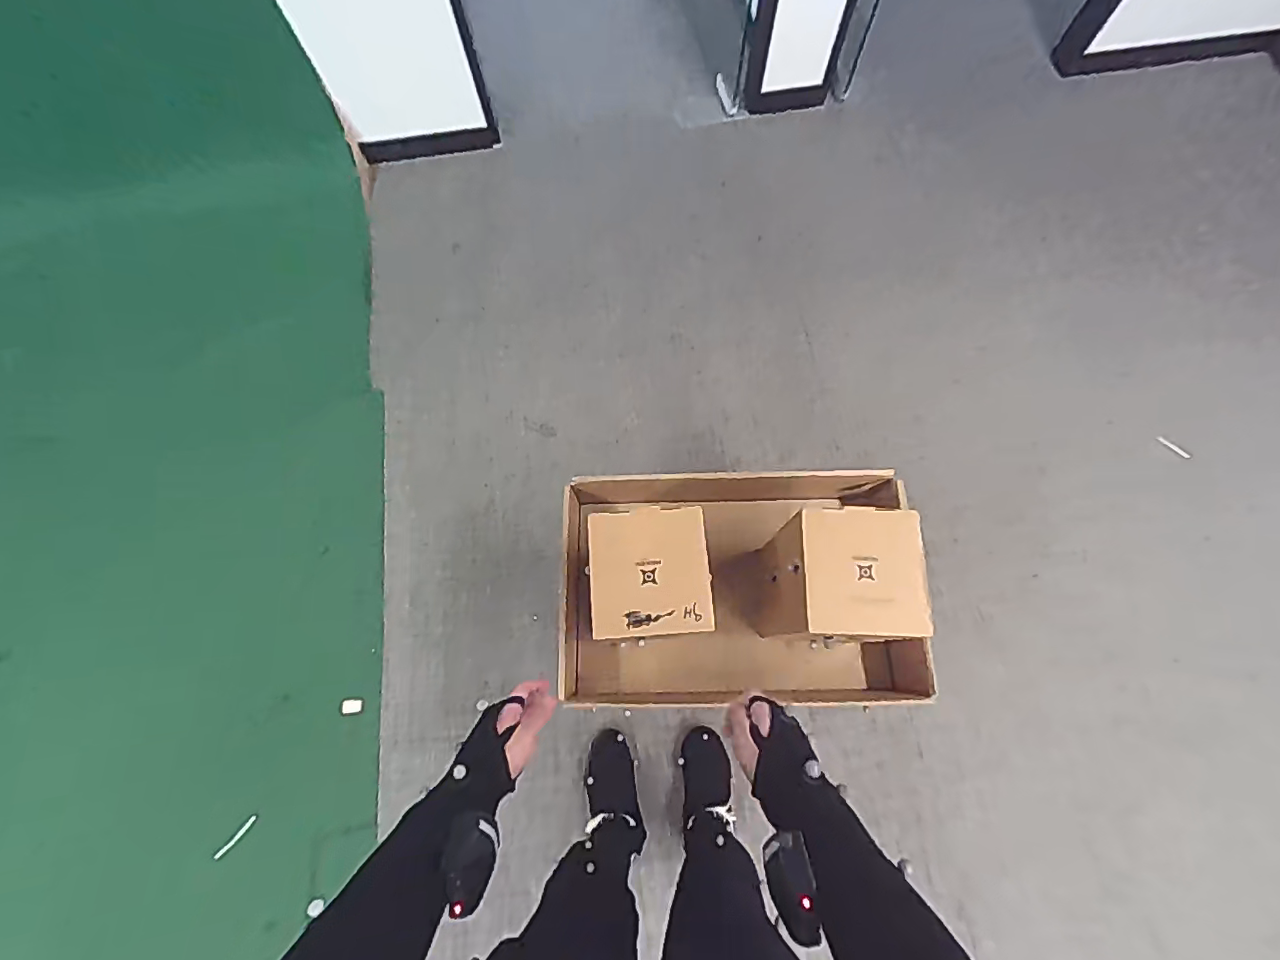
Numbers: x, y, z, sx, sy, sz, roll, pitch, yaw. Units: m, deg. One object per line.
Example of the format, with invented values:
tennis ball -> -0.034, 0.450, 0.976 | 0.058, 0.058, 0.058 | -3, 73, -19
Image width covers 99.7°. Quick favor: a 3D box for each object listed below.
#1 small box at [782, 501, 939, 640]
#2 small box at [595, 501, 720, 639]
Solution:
small box -> 0.313, 0.141, 0.807 | 0.168, 0.176, 0.179 | 2, 72, 2
small box -> 0.021, 0.141, 0.811 | 0.168, 0.176, 0.179 | -4, 72, 0
